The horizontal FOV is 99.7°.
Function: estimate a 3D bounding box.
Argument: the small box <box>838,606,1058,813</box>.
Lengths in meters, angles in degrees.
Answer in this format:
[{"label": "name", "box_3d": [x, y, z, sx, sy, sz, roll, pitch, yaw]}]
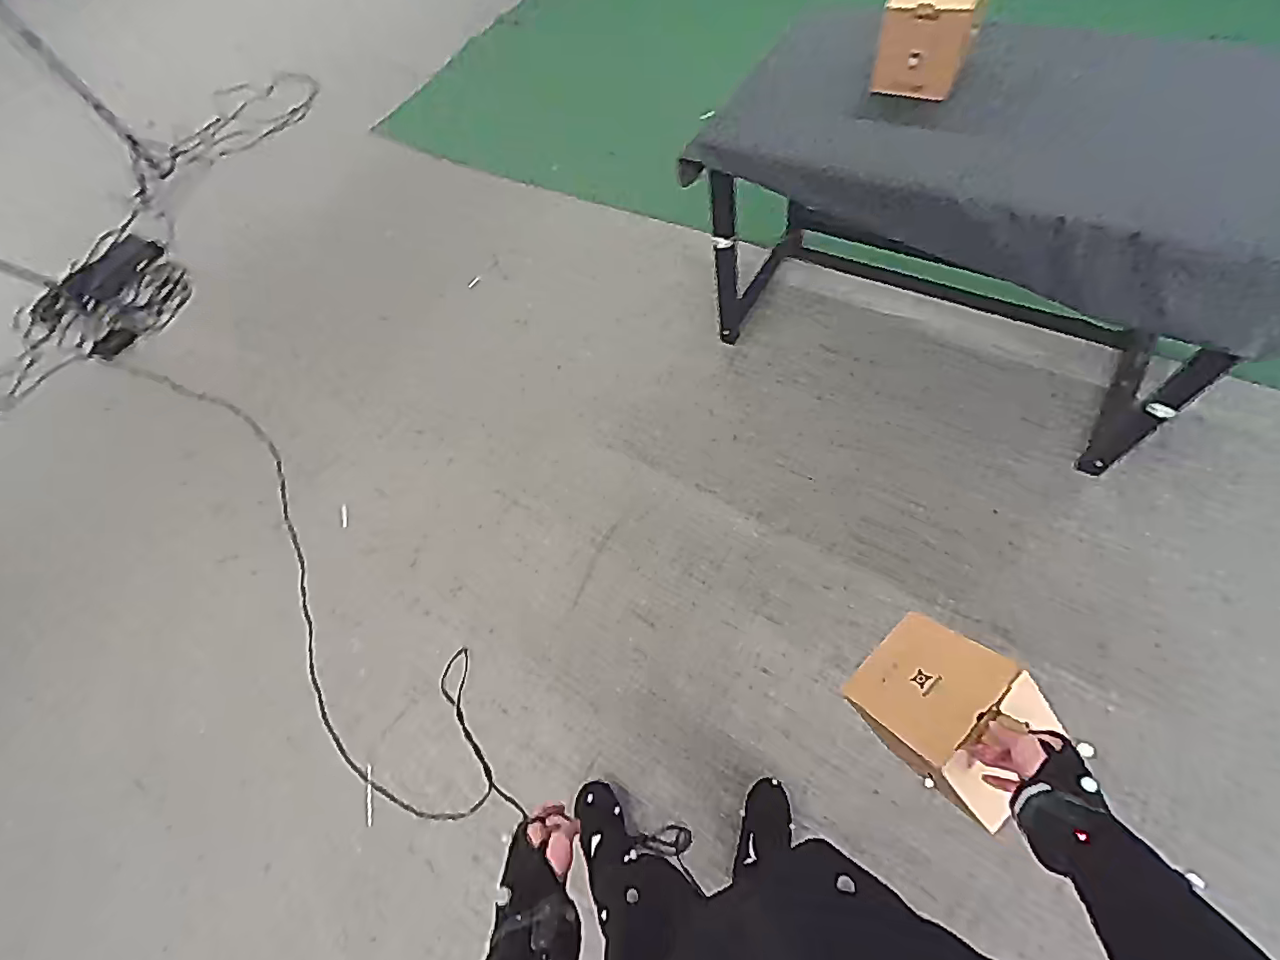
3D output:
[{"label": "small box", "box_3d": [0.419, 0.314, 0.739, 0.168, 0.176, 0.179, -42, 23, -6]}]

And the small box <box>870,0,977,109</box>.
[{"label": "small box", "box_3d": [0.626, -0.962, 1.201, 0.168, 0.176, 0.179, 20, 68, 22]}]
